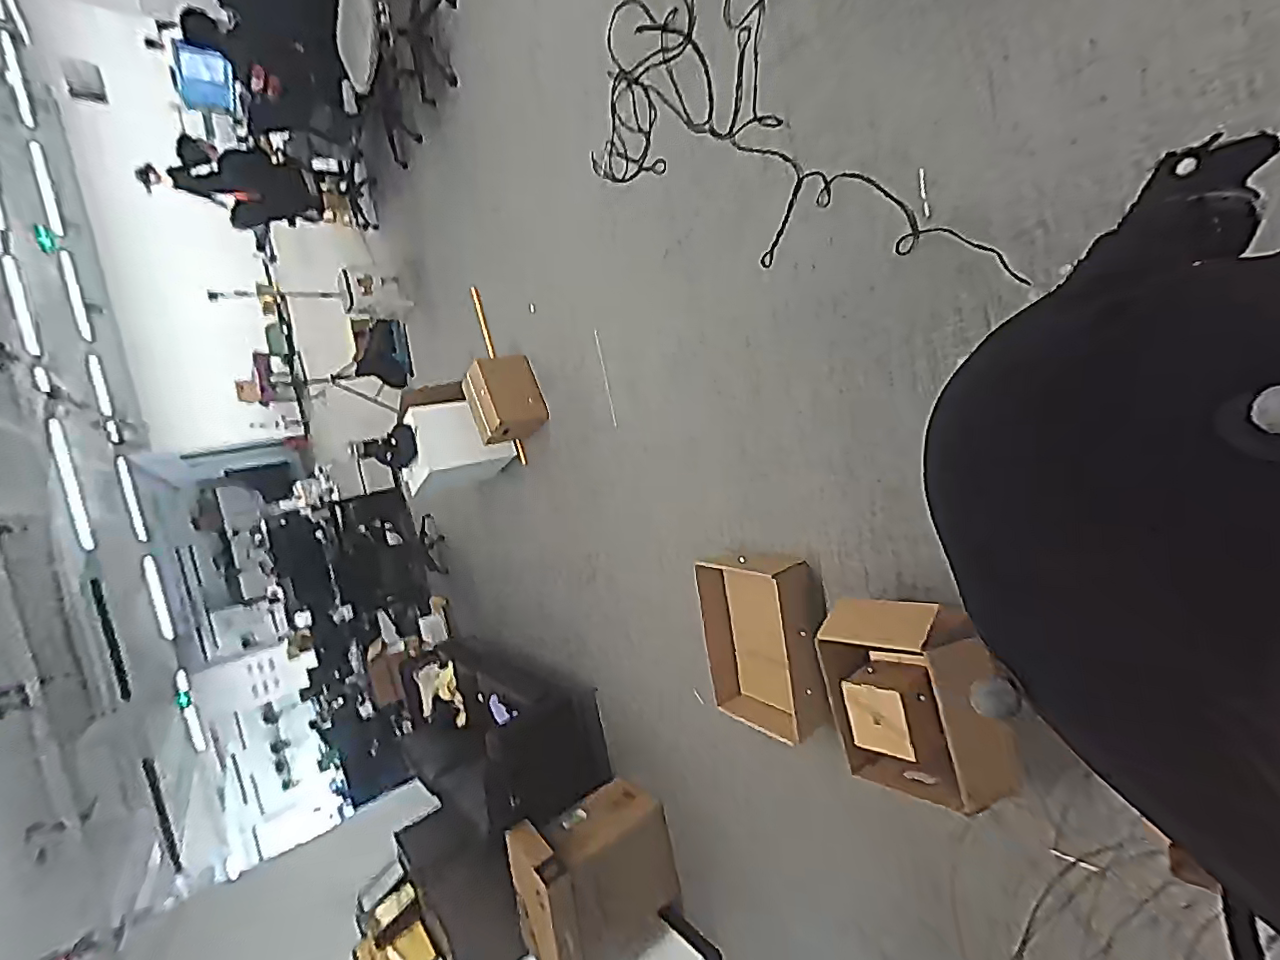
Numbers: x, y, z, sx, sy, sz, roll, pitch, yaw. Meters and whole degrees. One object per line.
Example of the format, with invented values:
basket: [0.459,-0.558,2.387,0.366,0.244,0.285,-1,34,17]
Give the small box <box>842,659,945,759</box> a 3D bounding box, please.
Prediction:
small box: [0.664,0.587,1.416,0.168,0.176,0.179,-14,89,54]
